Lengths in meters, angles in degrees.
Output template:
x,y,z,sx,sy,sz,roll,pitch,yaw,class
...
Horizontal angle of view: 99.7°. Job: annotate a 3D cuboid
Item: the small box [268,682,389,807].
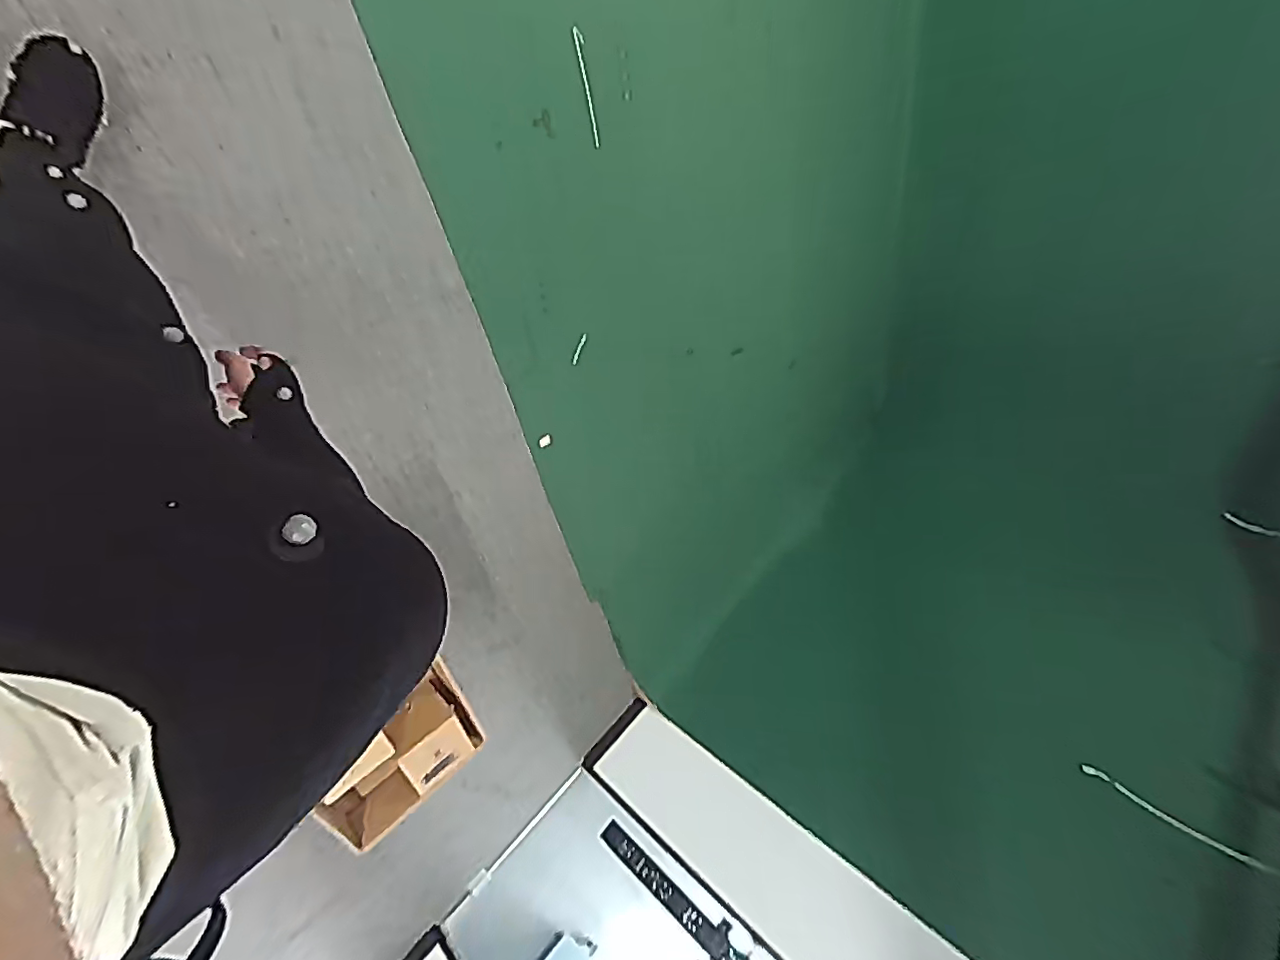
x,y,z,sx,sy,sz,roll,pitch,yaw,class
-0.727,0.603,1.261,0.168,0.176,0.179,-34,131,-32,small box
